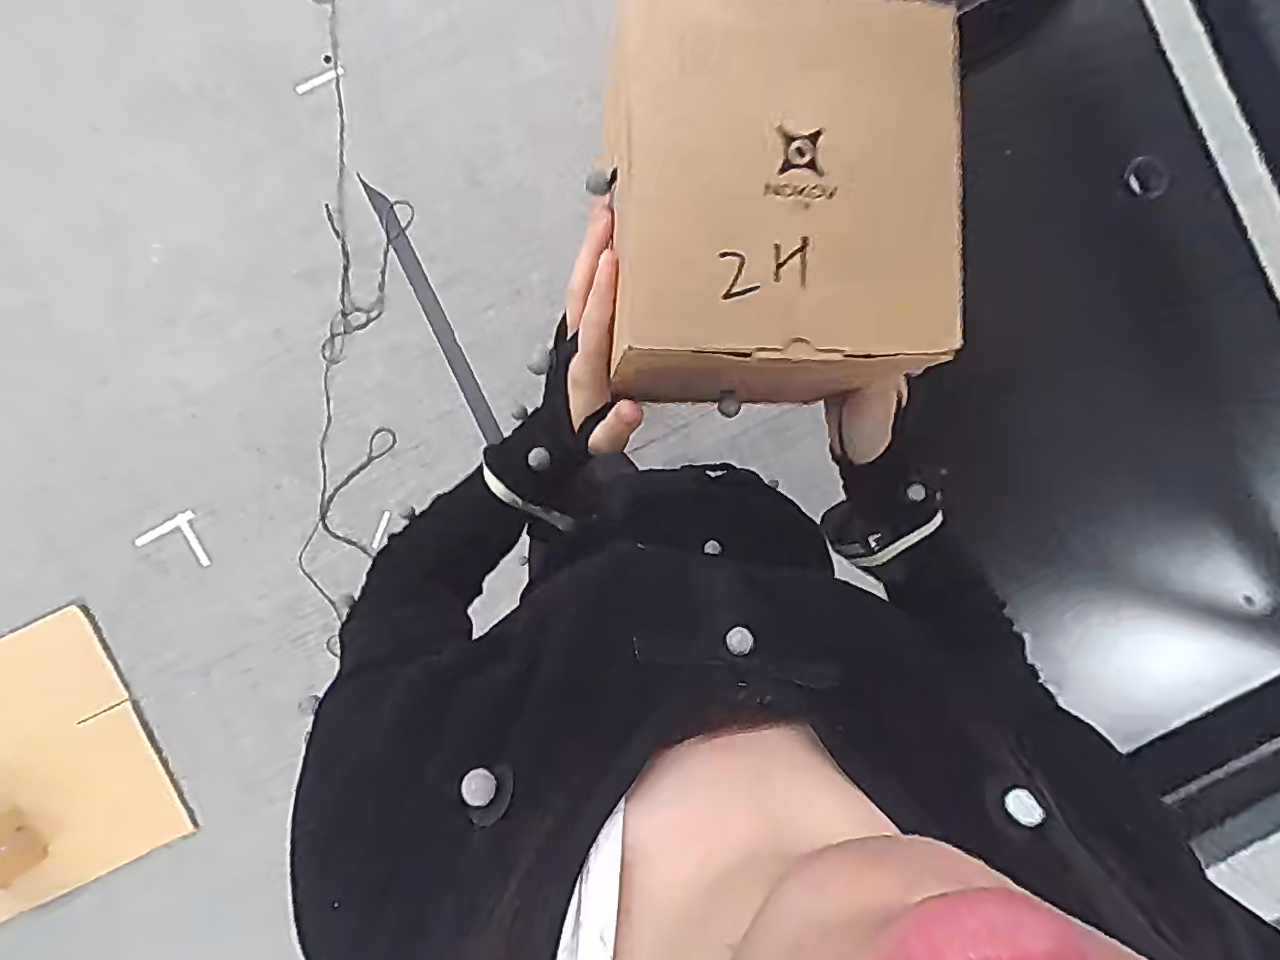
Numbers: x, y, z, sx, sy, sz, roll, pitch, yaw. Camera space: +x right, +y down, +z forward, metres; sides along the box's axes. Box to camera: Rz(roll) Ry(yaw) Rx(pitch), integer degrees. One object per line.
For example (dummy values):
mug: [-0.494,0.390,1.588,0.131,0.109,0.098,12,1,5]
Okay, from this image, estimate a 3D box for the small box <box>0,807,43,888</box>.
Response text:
small box: [-1.708,0.990,1.383,0.179,0.176,0.168,-33,92,-1]
